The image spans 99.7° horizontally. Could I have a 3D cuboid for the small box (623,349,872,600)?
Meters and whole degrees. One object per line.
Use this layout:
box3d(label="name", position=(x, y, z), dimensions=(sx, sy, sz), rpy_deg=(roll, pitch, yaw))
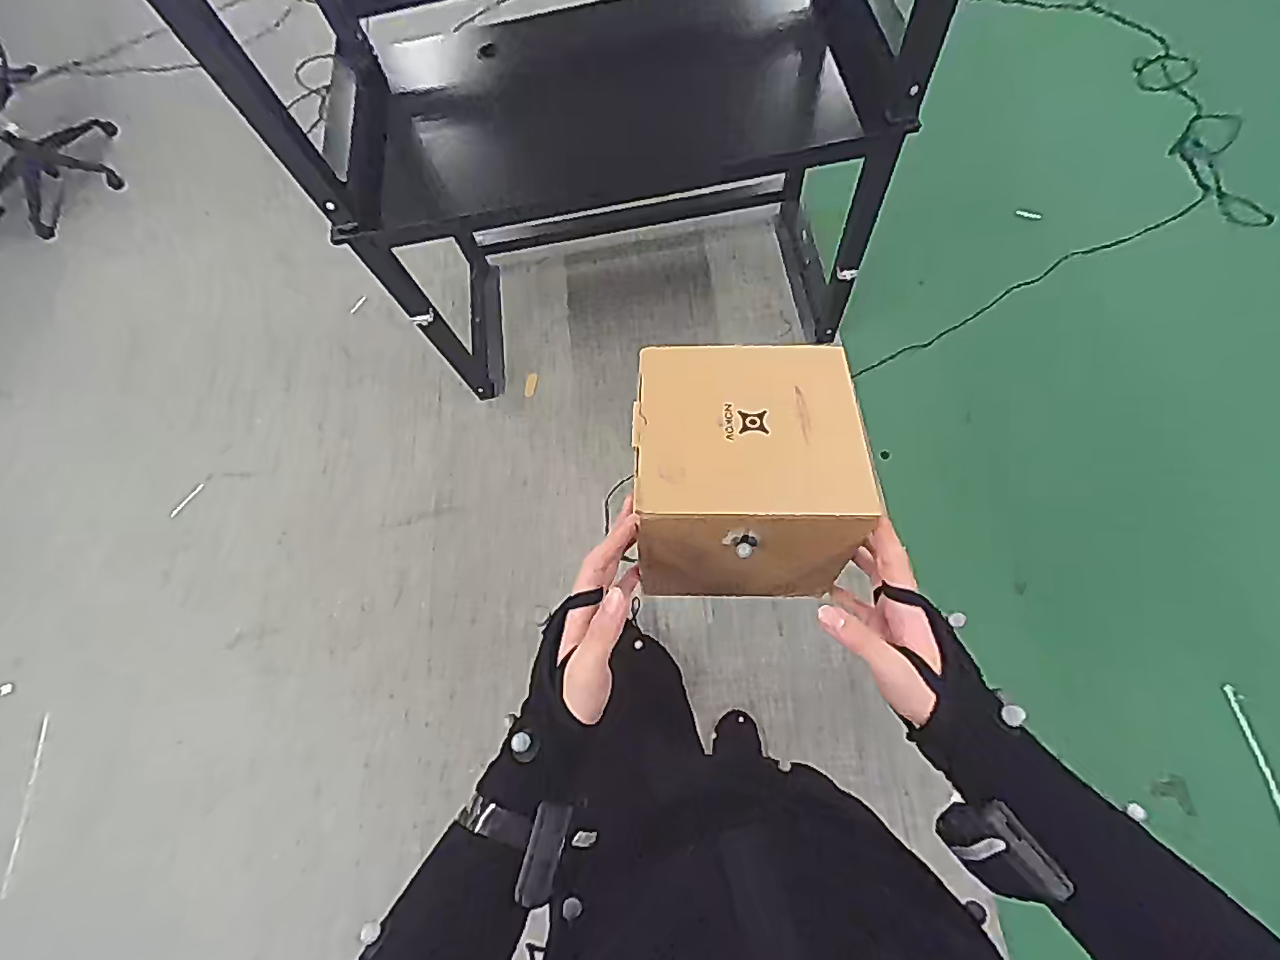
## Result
box3d(label="small box", position=(0.082, 0.002, 0.486), dimensions=(0.179, 0.176, 0.168), rpy_deg=(1, 58, 3))
